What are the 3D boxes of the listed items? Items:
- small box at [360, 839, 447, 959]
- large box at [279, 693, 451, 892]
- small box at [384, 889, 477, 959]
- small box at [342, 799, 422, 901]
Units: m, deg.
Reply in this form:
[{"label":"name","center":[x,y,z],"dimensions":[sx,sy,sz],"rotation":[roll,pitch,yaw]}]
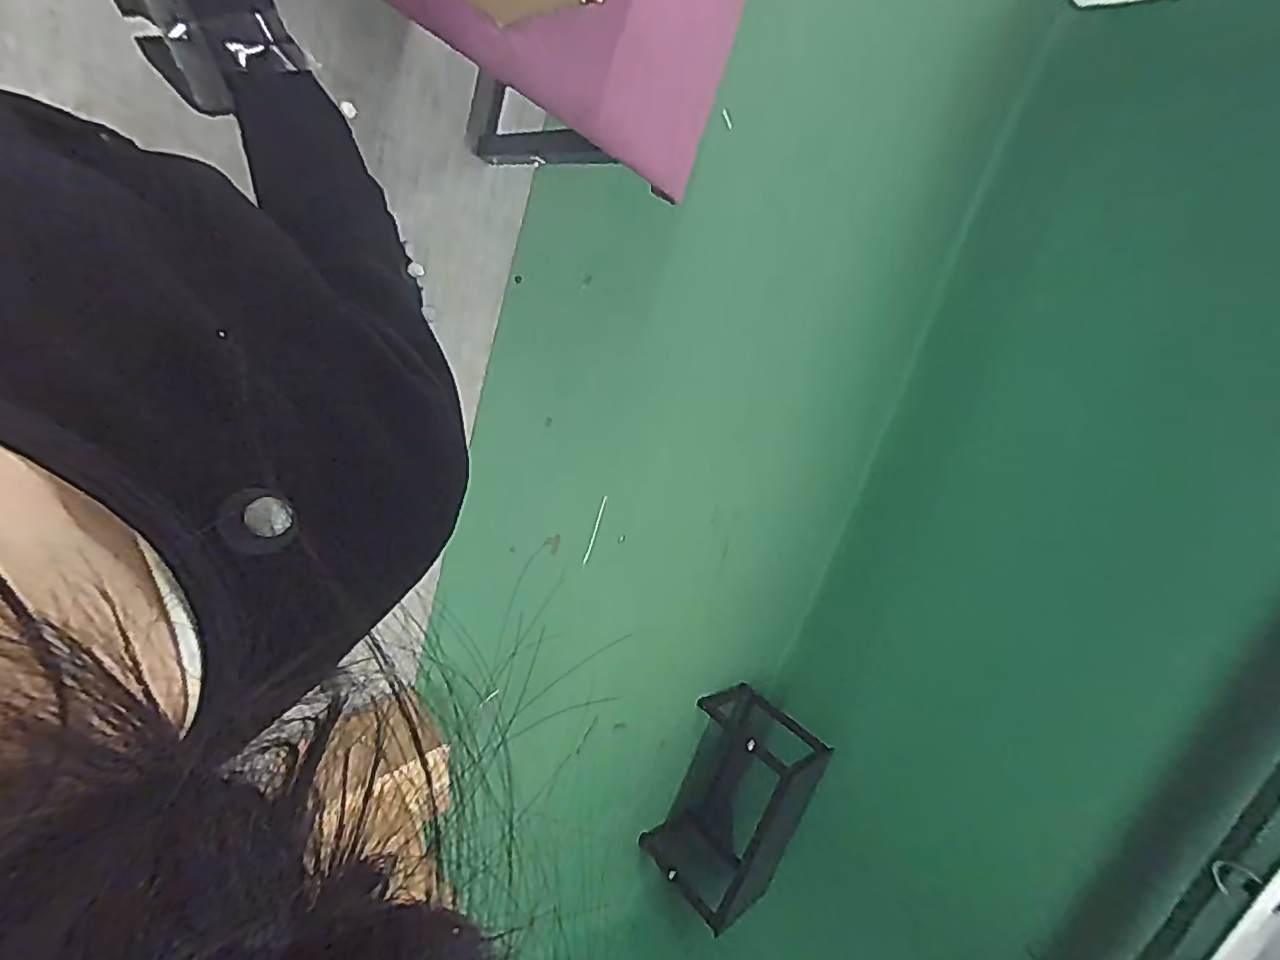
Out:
[{"label":"small box","center":[-0.633,1.121,1.444],"dimensions":[0.179,0.176,0.168],"rotation":[-15,121,-40]},{"label":"large box","center":[-0.873,0.976,1.743],"dimensions":[0.408,0.320,0.320],"rotation":[-15,123,-42]},{"label":"small box","center":[-0.521,1.182,1.339],"dimensions":[0.179,0.176,0.168],"rotation":[-13,120,-40]},{"label":"small box","center":[-0.739,1.060,1.552],"dimensions":[0.168,0.176,0.179],"rotation":[-13,120,-41]}]
